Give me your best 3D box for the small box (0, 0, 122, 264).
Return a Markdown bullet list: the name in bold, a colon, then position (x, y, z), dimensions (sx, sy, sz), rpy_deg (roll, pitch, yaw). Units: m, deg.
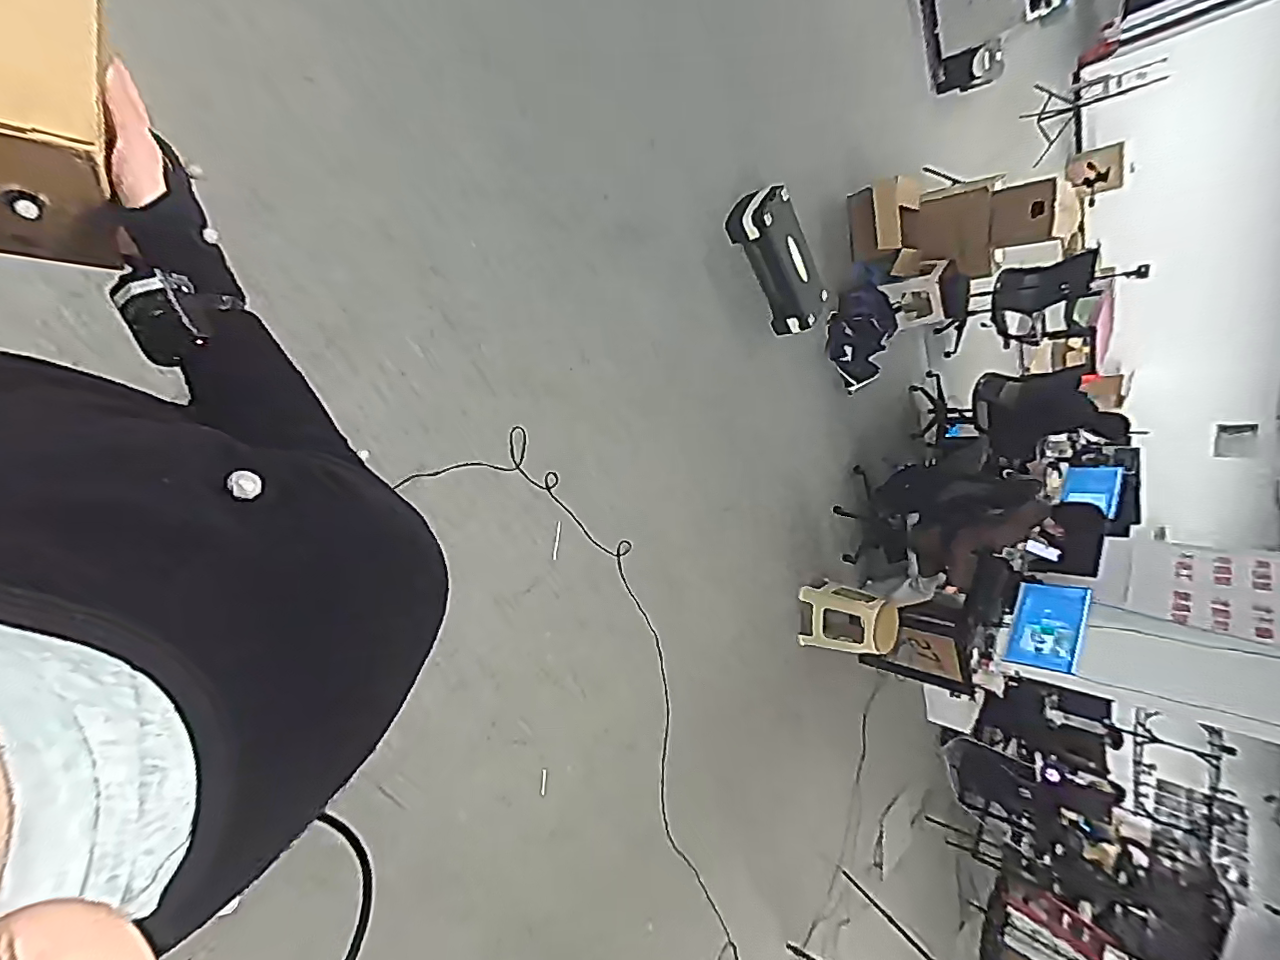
- **small box**: position (-0.496, -0.288, 0.391), dimensions (0.168, 0.176, 0.179), rpy_deg (-2, 77, -41)
